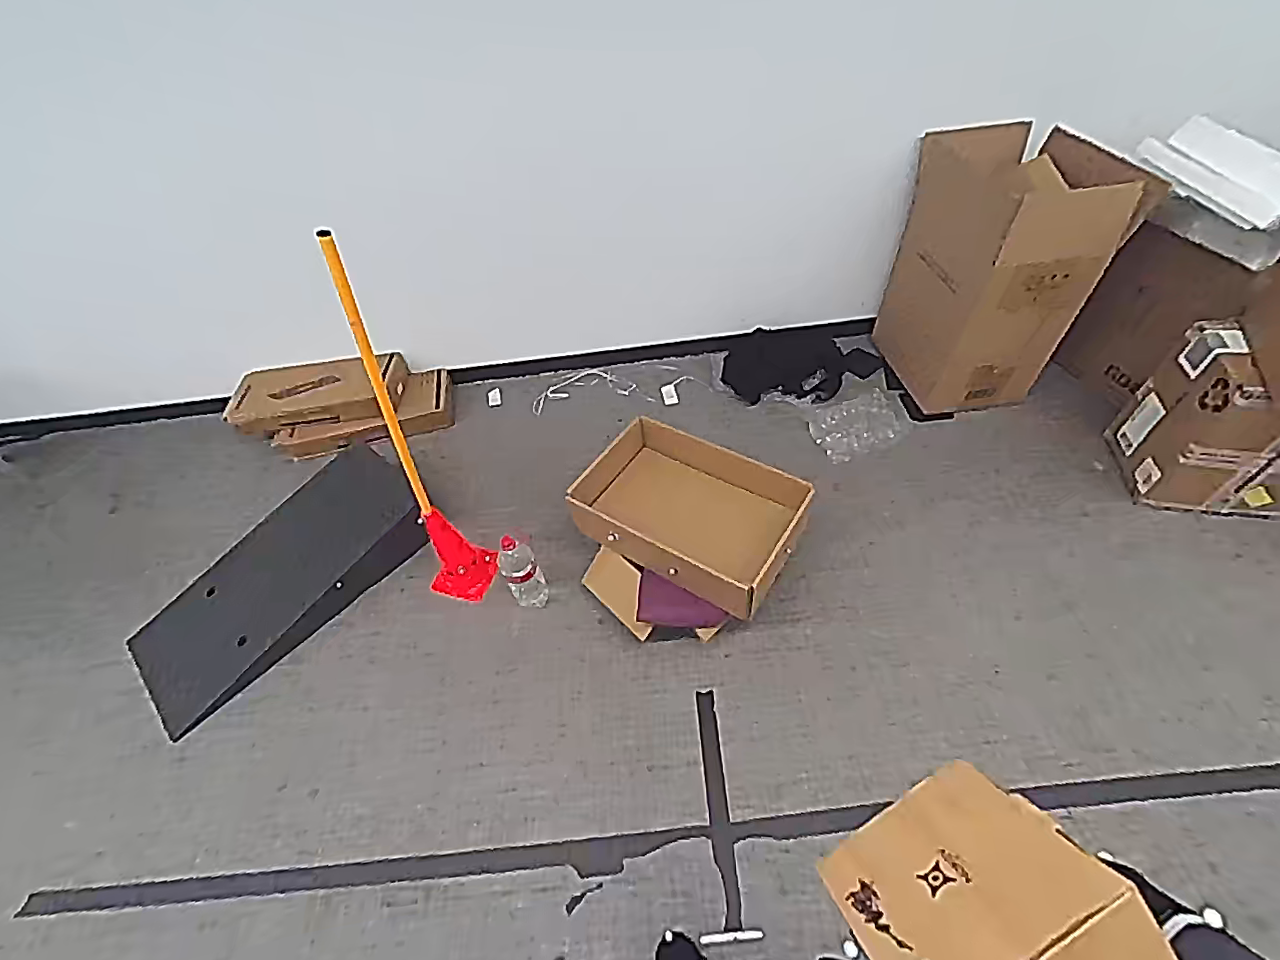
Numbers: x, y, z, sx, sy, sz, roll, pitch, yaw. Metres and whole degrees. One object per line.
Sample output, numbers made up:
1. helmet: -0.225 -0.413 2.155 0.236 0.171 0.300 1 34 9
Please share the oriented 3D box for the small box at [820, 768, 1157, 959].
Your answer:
1. small box: 0.291 0.393 0.444 0.179 0.168 0.176 -32 92 -5
